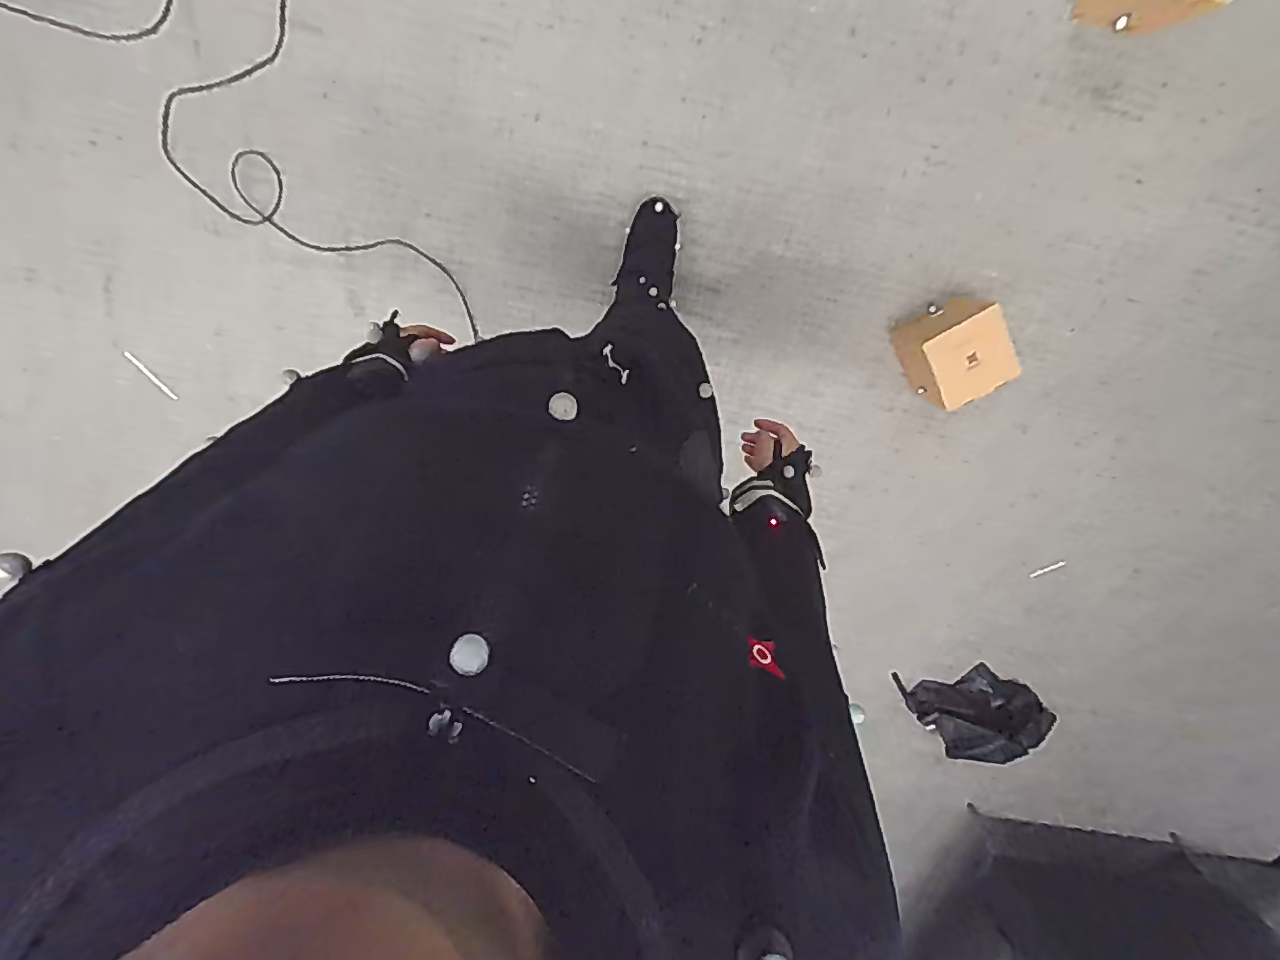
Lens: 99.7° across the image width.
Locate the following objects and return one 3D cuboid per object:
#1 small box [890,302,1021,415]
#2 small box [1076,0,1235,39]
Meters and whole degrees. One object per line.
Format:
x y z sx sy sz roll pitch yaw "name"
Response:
0.692 -0.276 1.202 0.168 0.176 0.179 -30 110 11 "small box"
0.906 -0.900 0.922 0.168 0.176 0.179 8 114 -4 "small box"
